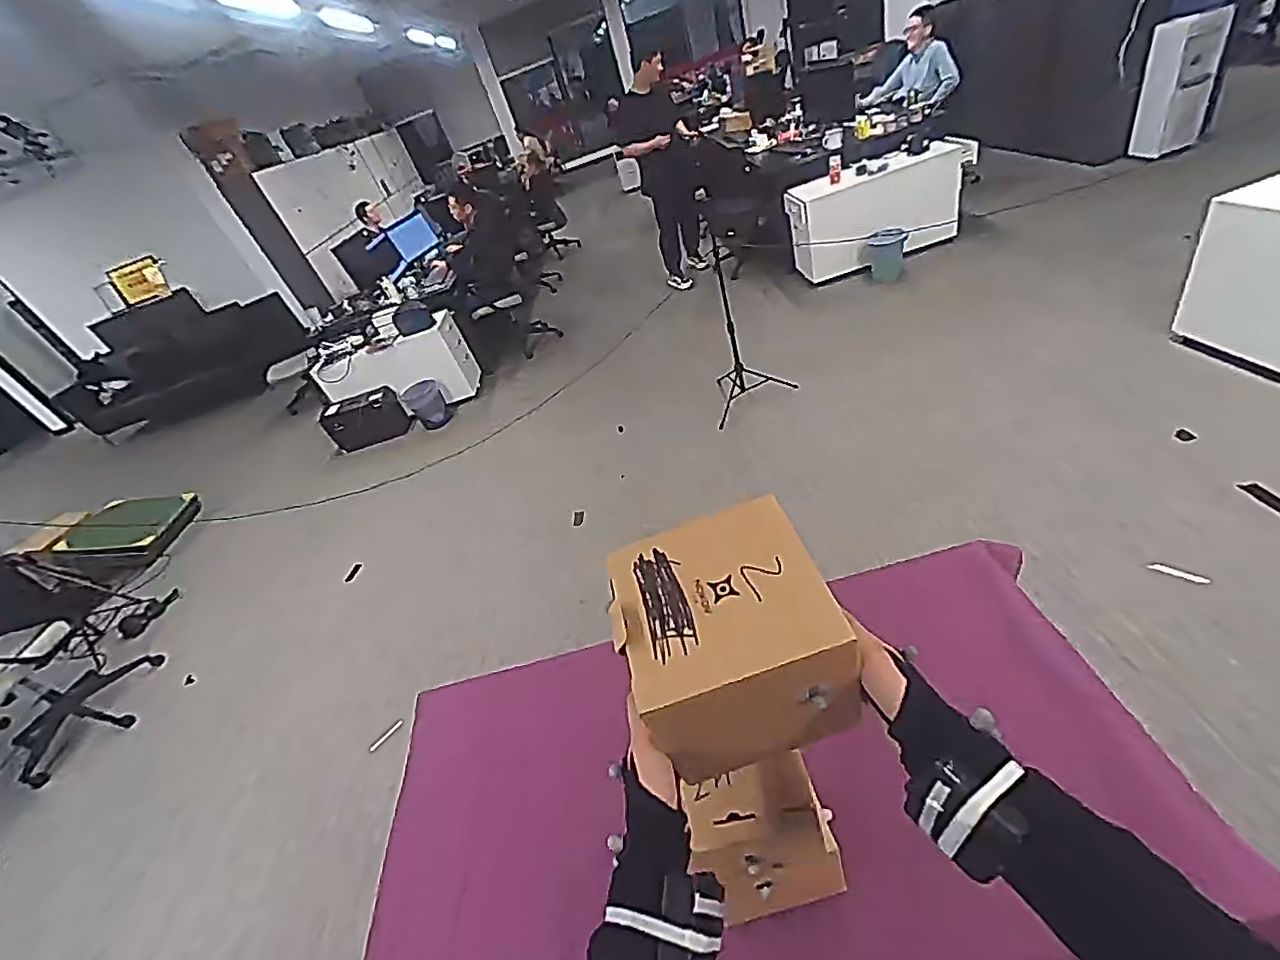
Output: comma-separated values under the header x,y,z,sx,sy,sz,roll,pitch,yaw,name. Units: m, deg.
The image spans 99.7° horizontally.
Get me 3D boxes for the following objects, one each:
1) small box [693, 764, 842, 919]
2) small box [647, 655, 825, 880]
x,y,z,sx,sy,sz,roll,pitch,yaw,name
0.161,0.472,0.751,0.179,0.176,0.168,-19,37,3,small box
0.112,0.347,0.656,0.168,0.176,0.179,-16,37,8,small box
